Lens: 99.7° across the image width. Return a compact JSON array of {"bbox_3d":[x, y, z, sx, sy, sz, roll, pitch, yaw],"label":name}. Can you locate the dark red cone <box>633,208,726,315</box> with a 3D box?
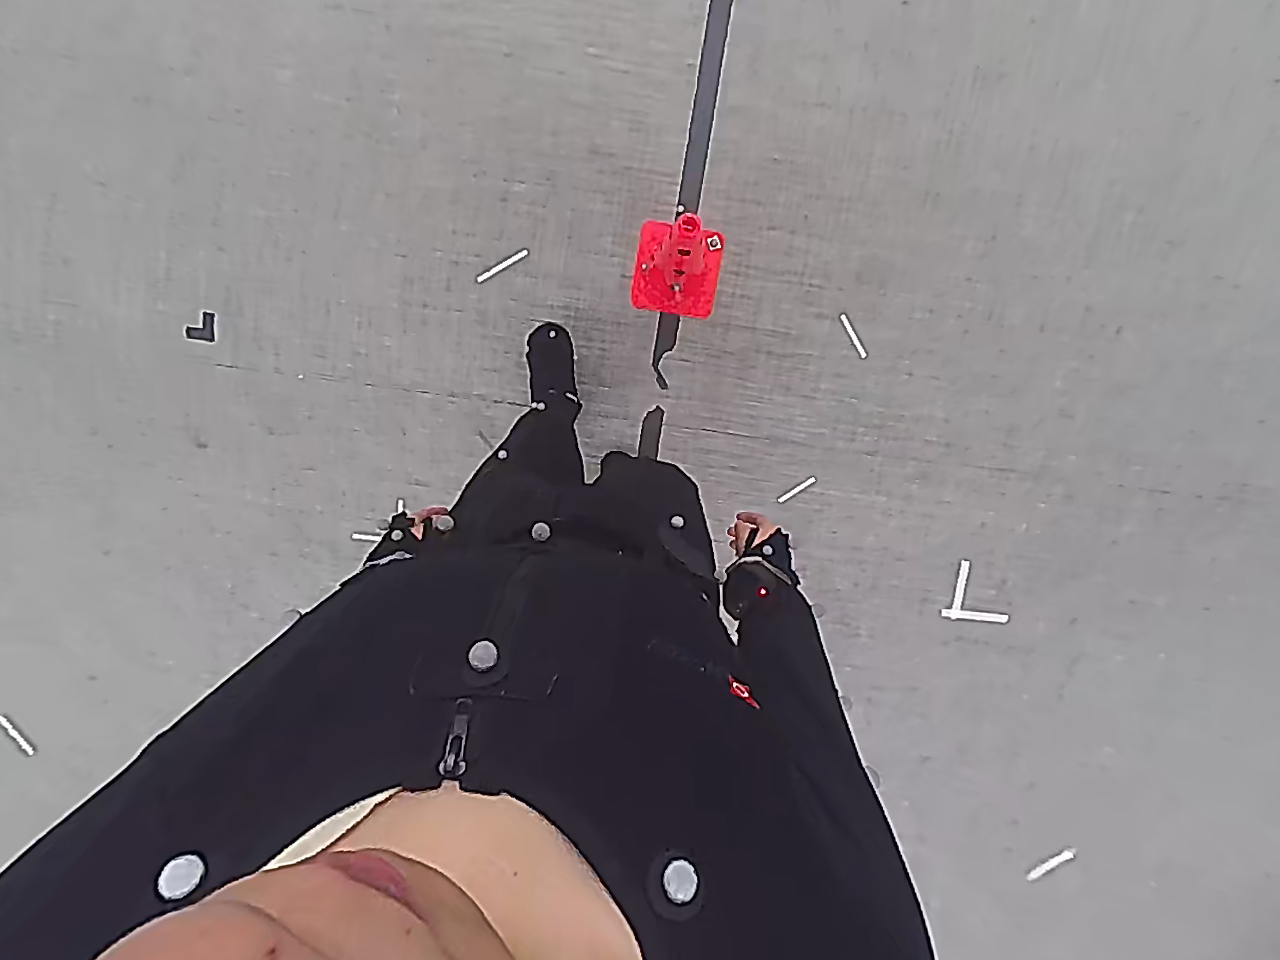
[{"bbox_3d":[0.085,-0.466,1.086,0.201,0.394,0.202,8,100,0],"label":"dark red cone"}]
